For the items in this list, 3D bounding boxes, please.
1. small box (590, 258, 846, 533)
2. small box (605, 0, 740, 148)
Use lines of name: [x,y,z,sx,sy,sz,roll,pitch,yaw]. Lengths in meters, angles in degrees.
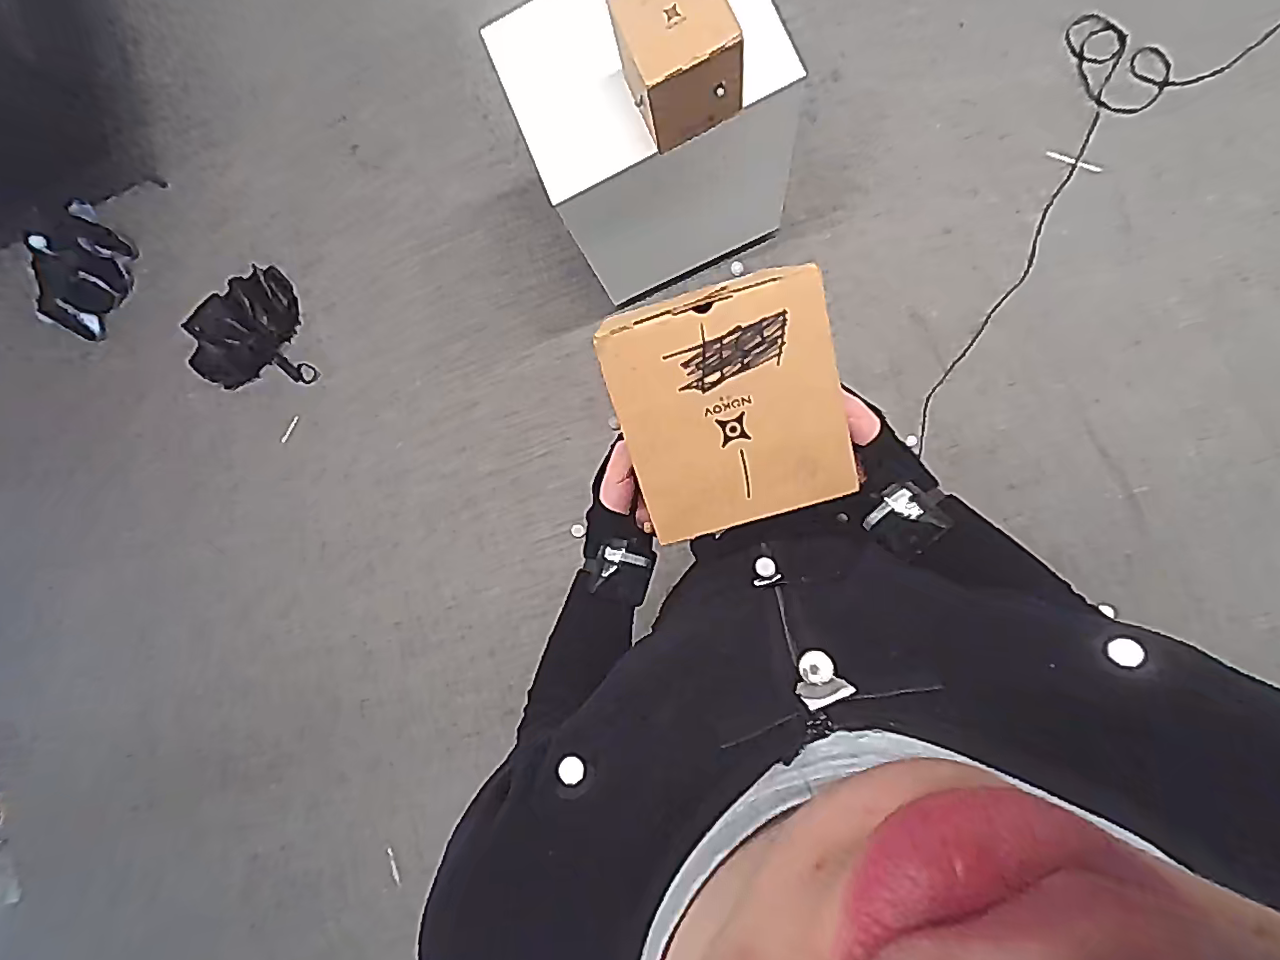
small box: [0.062,-0.082,0.483,0.168,0.176,0.179,-16,109,5]
small box: [0.061,-0.709,0.920,0.168,0.176,0.179,-24,83,6]
